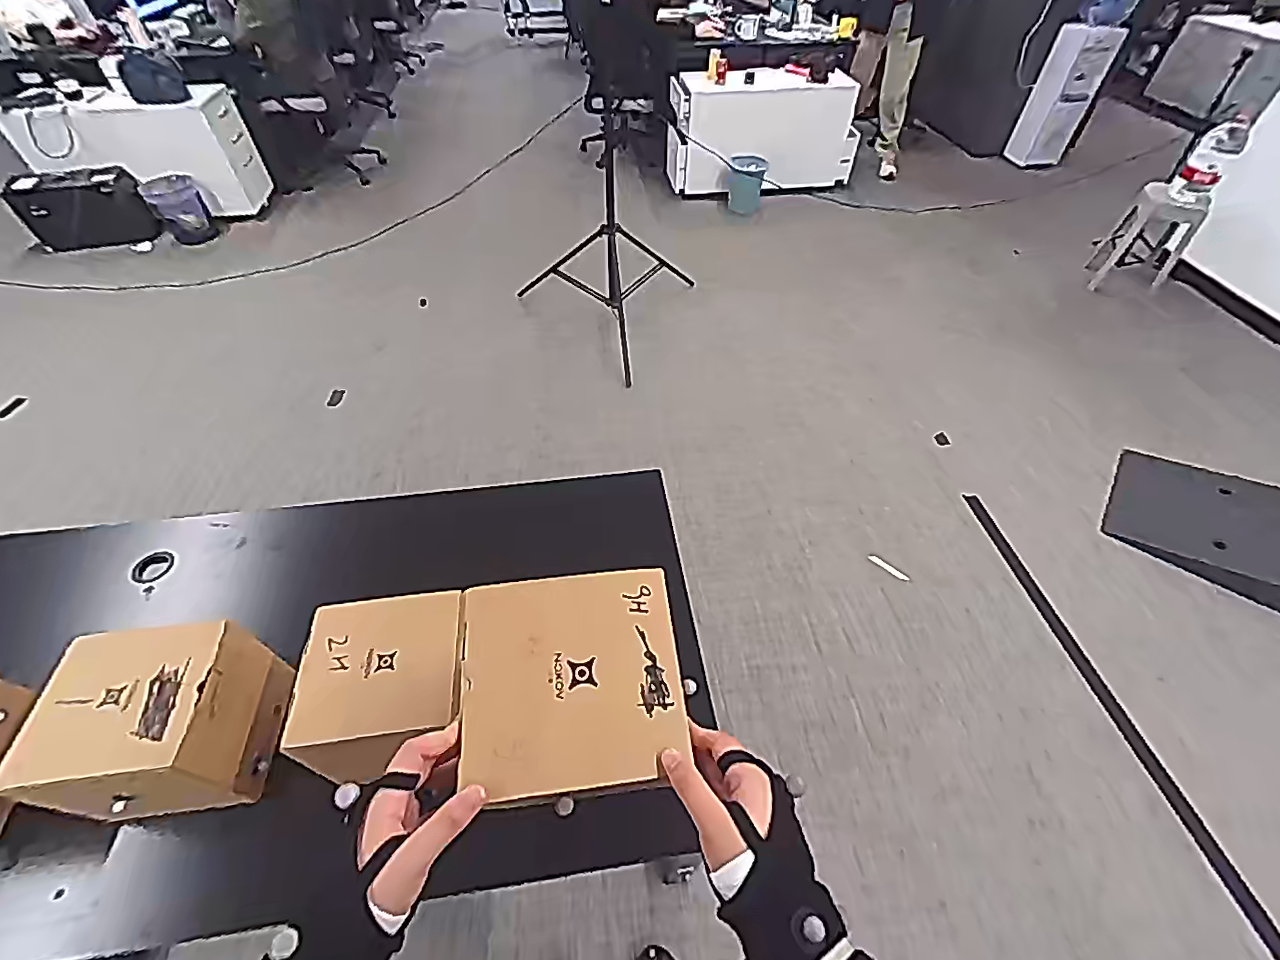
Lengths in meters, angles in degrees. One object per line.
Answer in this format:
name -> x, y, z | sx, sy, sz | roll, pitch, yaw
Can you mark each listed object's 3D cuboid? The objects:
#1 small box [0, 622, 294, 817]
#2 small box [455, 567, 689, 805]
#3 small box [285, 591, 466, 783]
small box -> -0.563, 0.291, 0.655 | 0.179, 0.176, 0.168 | -6, 49, -4
small box -> -0.058, 0.197, 0.504 | 0.179, 0.176, 0.168 | -6, 58, -5
small box -> -0.296, 0.262, 0.680 | 0.179, 0.176, 0.168 | -7, 49, -6
